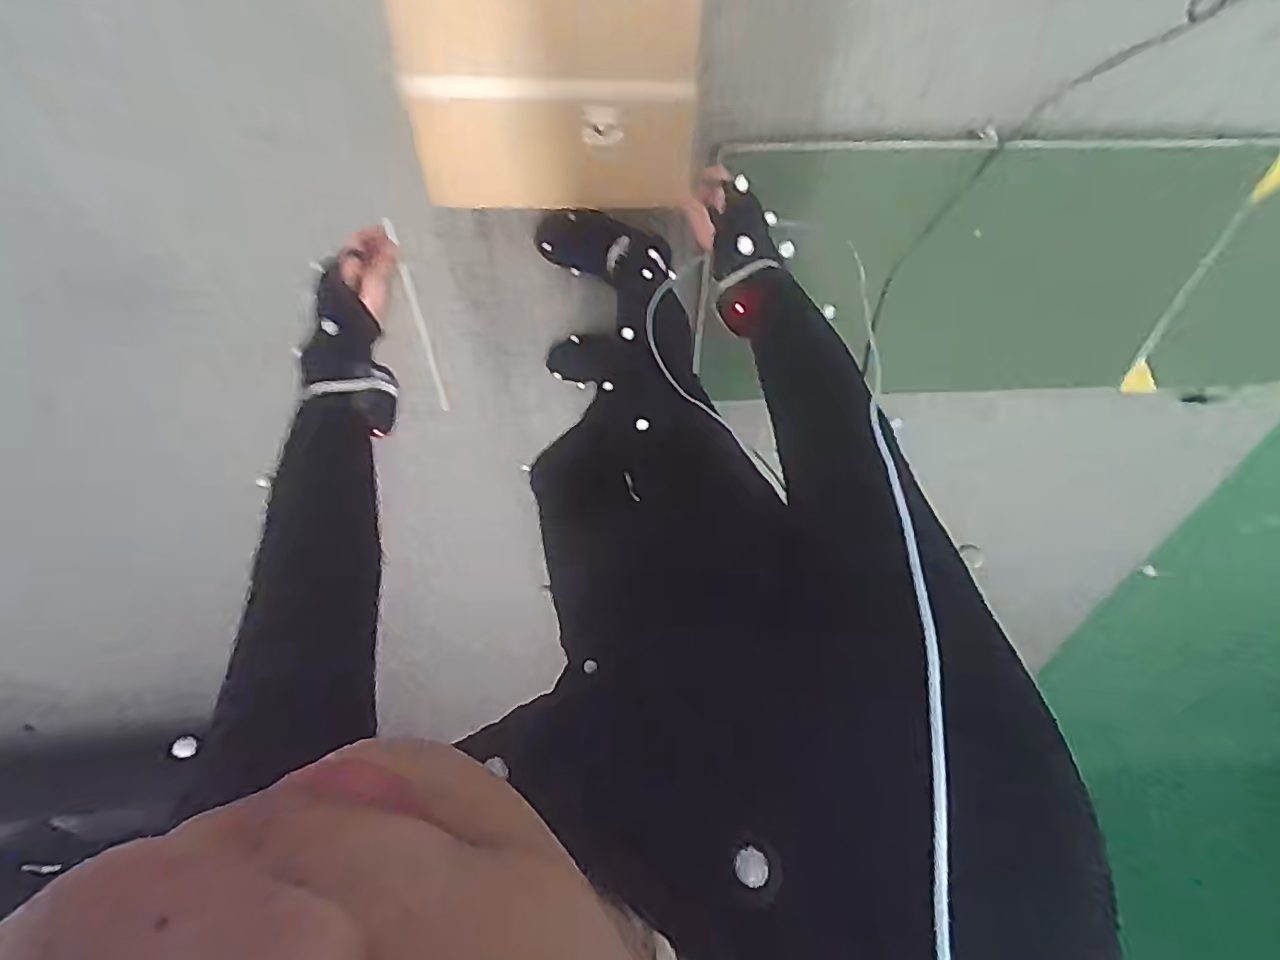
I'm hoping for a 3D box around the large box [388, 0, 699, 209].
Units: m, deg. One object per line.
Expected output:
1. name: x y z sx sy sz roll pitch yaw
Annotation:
1. large box: -0.138 -0.643 0.863 0.408 0.320 0.320 -3 132 -6
